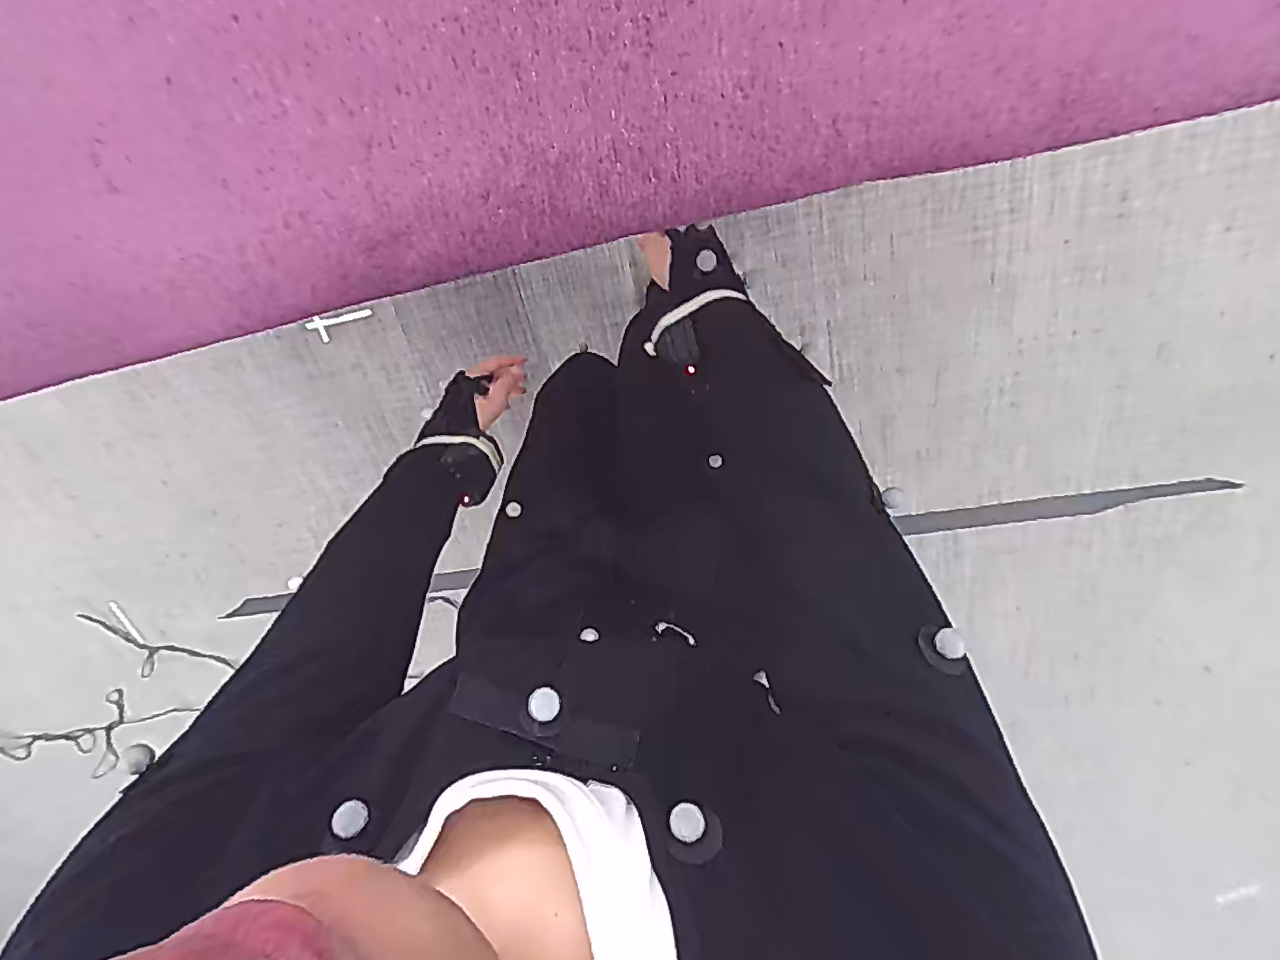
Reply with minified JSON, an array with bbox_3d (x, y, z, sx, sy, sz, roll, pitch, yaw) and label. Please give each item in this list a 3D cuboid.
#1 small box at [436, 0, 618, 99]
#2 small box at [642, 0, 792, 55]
[{"bbox_3d":[-0.128,-0.559,0.604,0.168,0.176,0.179,-10,118,10],"label":"small box"},{"bbox_3d":[0.073,-0.591,0.569,0.168,0.176,0.179,-9,117,10],"label":"small box"}]
